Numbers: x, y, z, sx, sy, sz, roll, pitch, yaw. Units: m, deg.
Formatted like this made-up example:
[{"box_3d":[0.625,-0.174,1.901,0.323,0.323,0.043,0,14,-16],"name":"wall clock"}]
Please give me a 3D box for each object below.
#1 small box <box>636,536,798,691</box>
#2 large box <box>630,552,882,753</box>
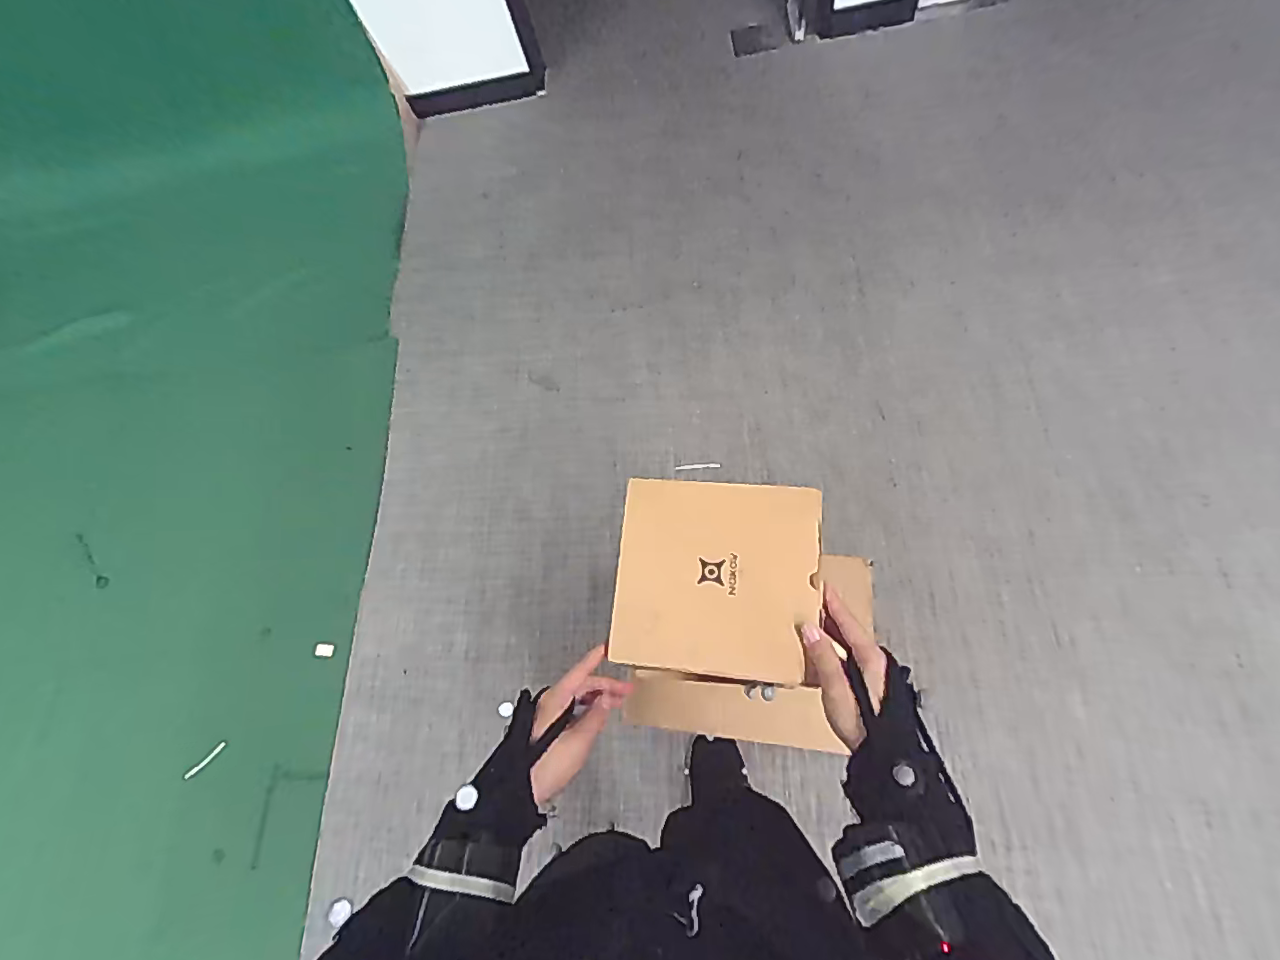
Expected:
[{"box_3d":[0.098,0.172,0.684,0.179,0.176,0.168,-1,69,11],"name":"small box"},{"box_3d":[0.211,0.320,1.048,0.408,0.320,0.320,2,72,11],"name":"large box"}]
